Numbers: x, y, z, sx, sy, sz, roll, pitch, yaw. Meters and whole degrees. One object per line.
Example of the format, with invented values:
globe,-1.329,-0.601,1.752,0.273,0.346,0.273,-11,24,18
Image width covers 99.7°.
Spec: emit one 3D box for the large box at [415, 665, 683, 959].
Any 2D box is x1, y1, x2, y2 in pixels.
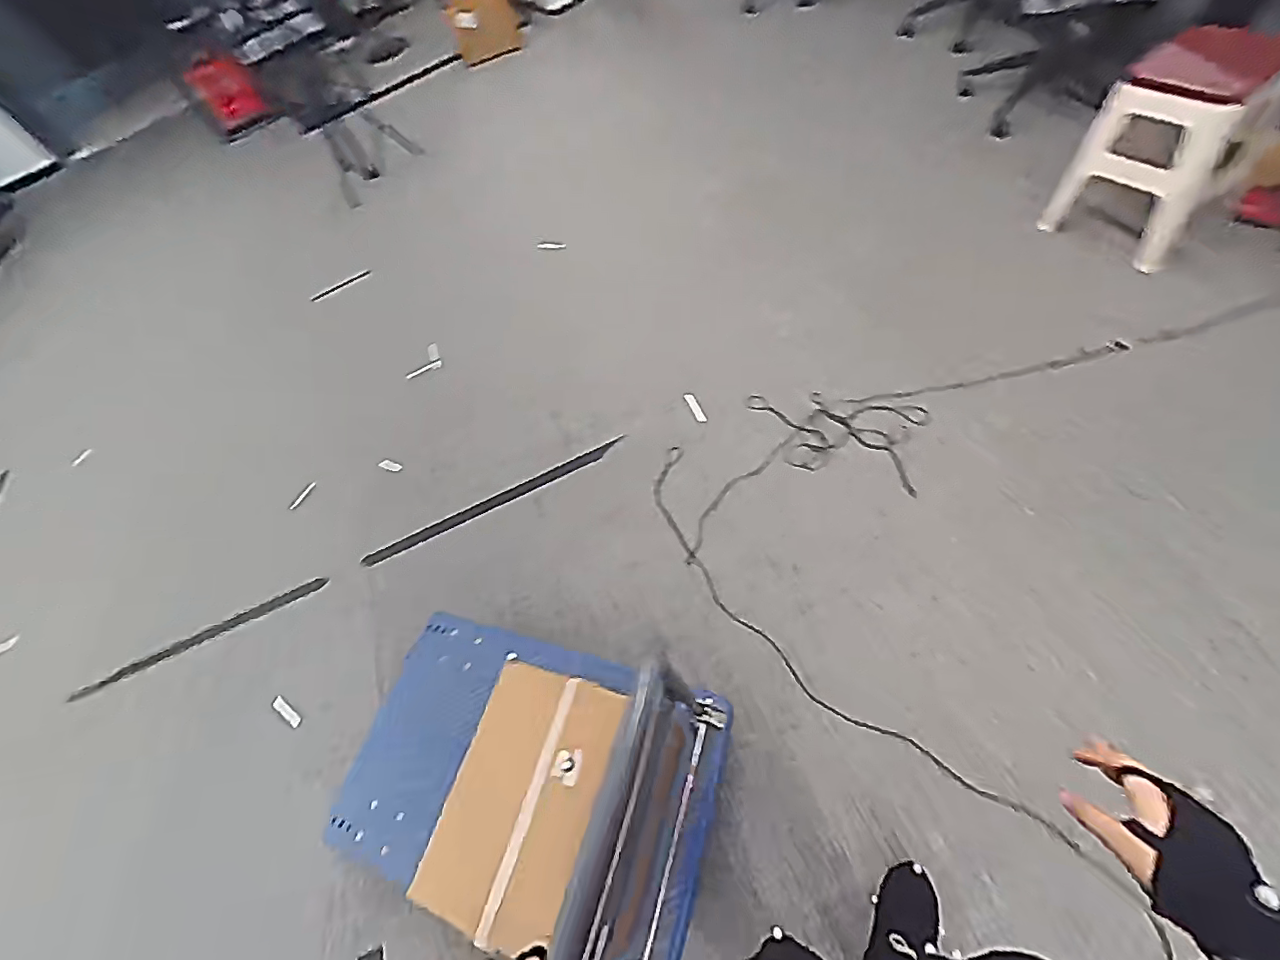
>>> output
large box,-0.138,0.632,1.043,0.320,0.320,0.408,10,62,21
